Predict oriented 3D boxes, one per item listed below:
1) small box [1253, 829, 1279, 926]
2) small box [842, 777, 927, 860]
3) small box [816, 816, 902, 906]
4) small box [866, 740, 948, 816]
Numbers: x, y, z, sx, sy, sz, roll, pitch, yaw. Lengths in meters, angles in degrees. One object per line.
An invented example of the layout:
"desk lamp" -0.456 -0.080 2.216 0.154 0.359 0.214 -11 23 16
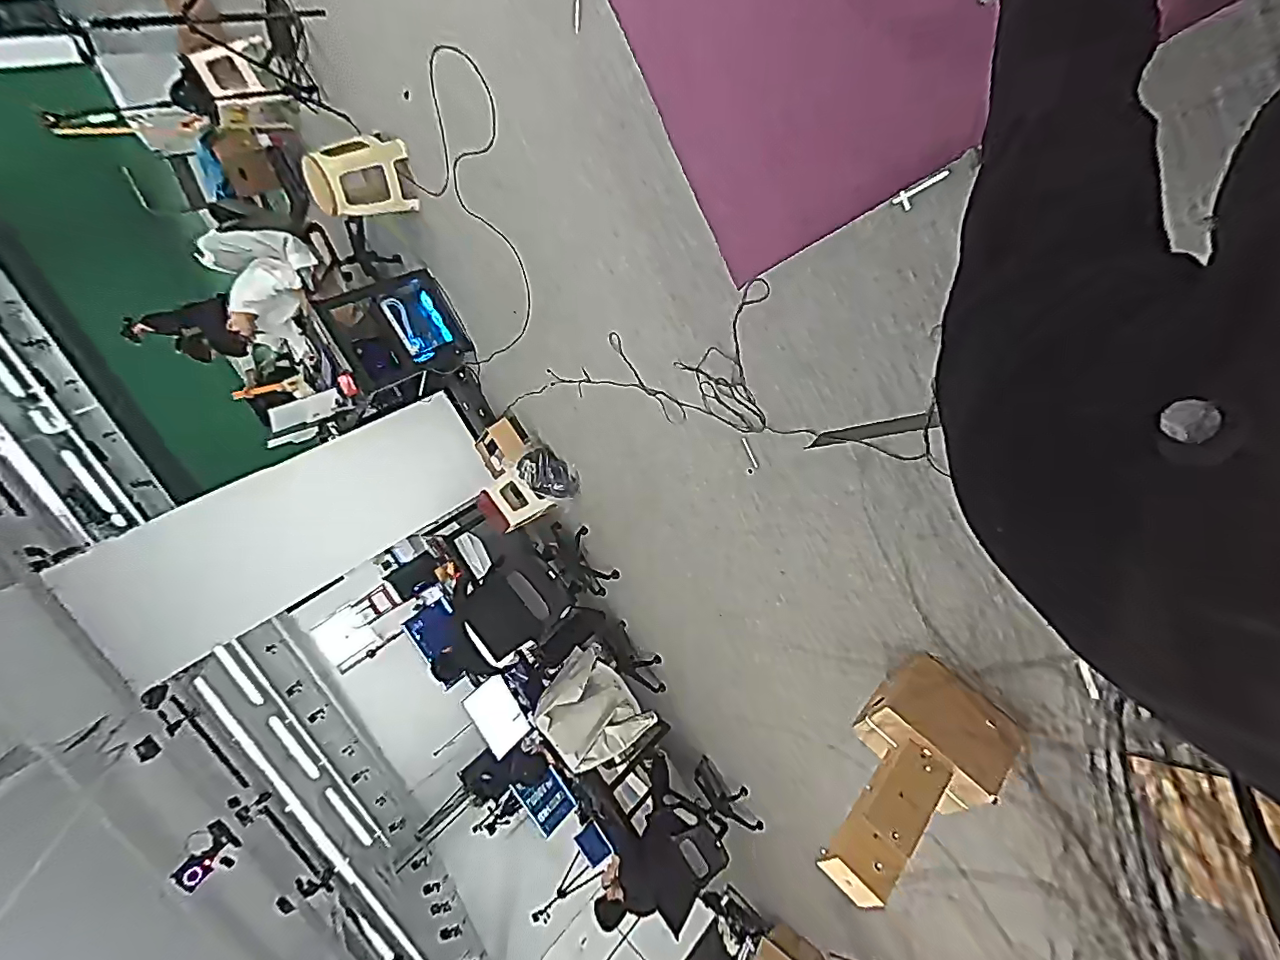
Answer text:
"small box" 1.724 1.046 1.377 0.179 0.176 0.168 58 147 -3
"small box" 0.816 1.128 1.799 0.168 0.176 0.179 40 147 23
"small box" 0.699 1.204 1.714 0.168 0.176 0.179 40 146 23
"small box" 0.932 1.046 1.881 0.168 0.176 0.179 40 145 23
